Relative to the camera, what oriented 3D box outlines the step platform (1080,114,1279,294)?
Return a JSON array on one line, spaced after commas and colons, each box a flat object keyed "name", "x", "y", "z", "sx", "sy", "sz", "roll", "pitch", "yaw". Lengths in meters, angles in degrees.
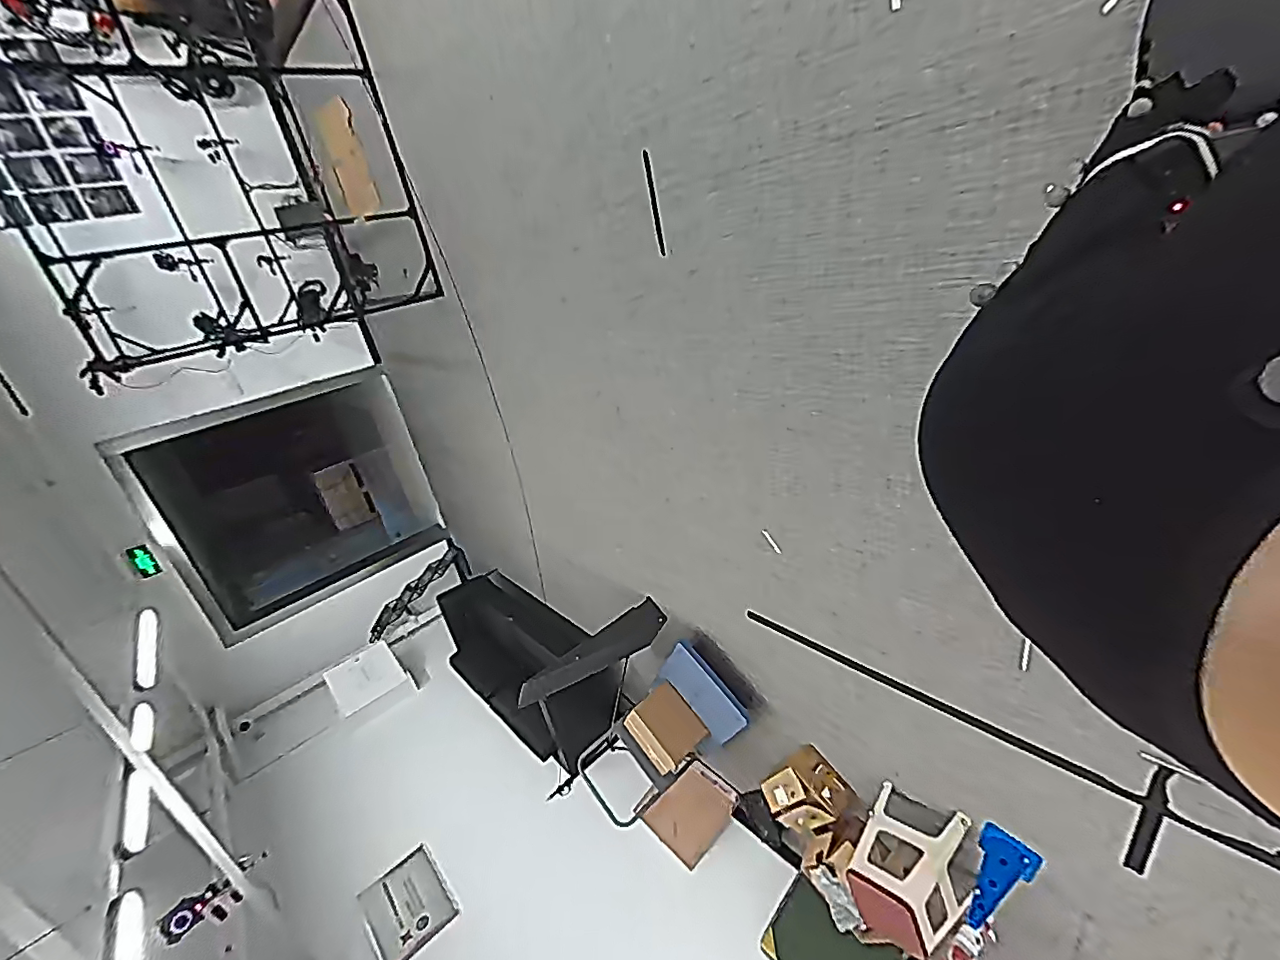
[{"name": "step platform", "x": 1.198, "y": -0.497, "z": 0.930, "sx": 0.684, "sy": 0.204, "sz": 0.286, "roll": 16, "pitch": 126, "yaw": 49}]
